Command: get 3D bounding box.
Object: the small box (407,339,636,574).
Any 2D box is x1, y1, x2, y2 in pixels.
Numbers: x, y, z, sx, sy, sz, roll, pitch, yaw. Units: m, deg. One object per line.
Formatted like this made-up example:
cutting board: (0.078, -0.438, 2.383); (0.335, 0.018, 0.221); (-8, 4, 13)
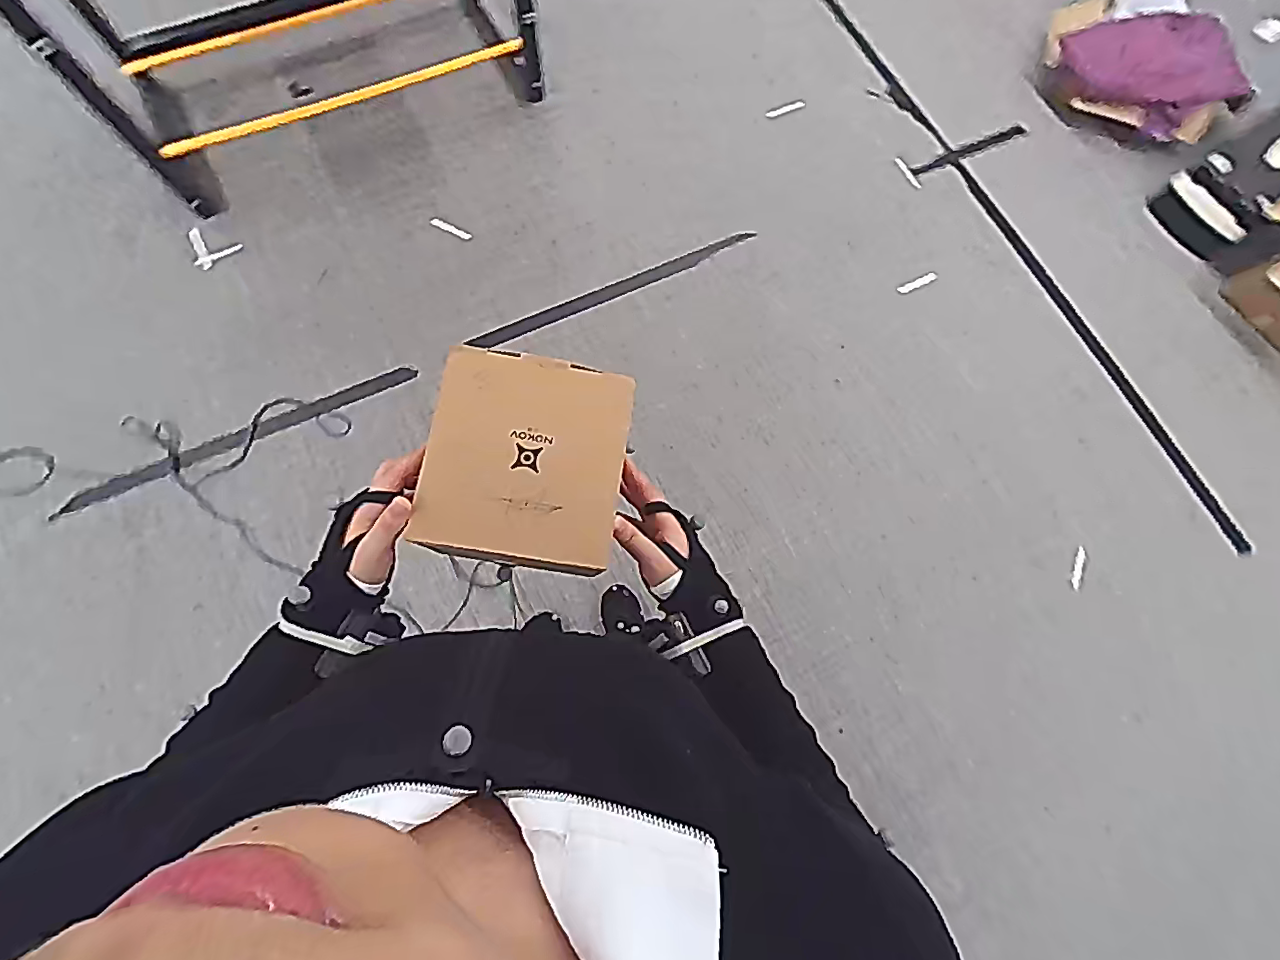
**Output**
small box: (-0.105, -0.009, 0.529); (0.168, 0.176, 0.179); (8, 76, -6)
